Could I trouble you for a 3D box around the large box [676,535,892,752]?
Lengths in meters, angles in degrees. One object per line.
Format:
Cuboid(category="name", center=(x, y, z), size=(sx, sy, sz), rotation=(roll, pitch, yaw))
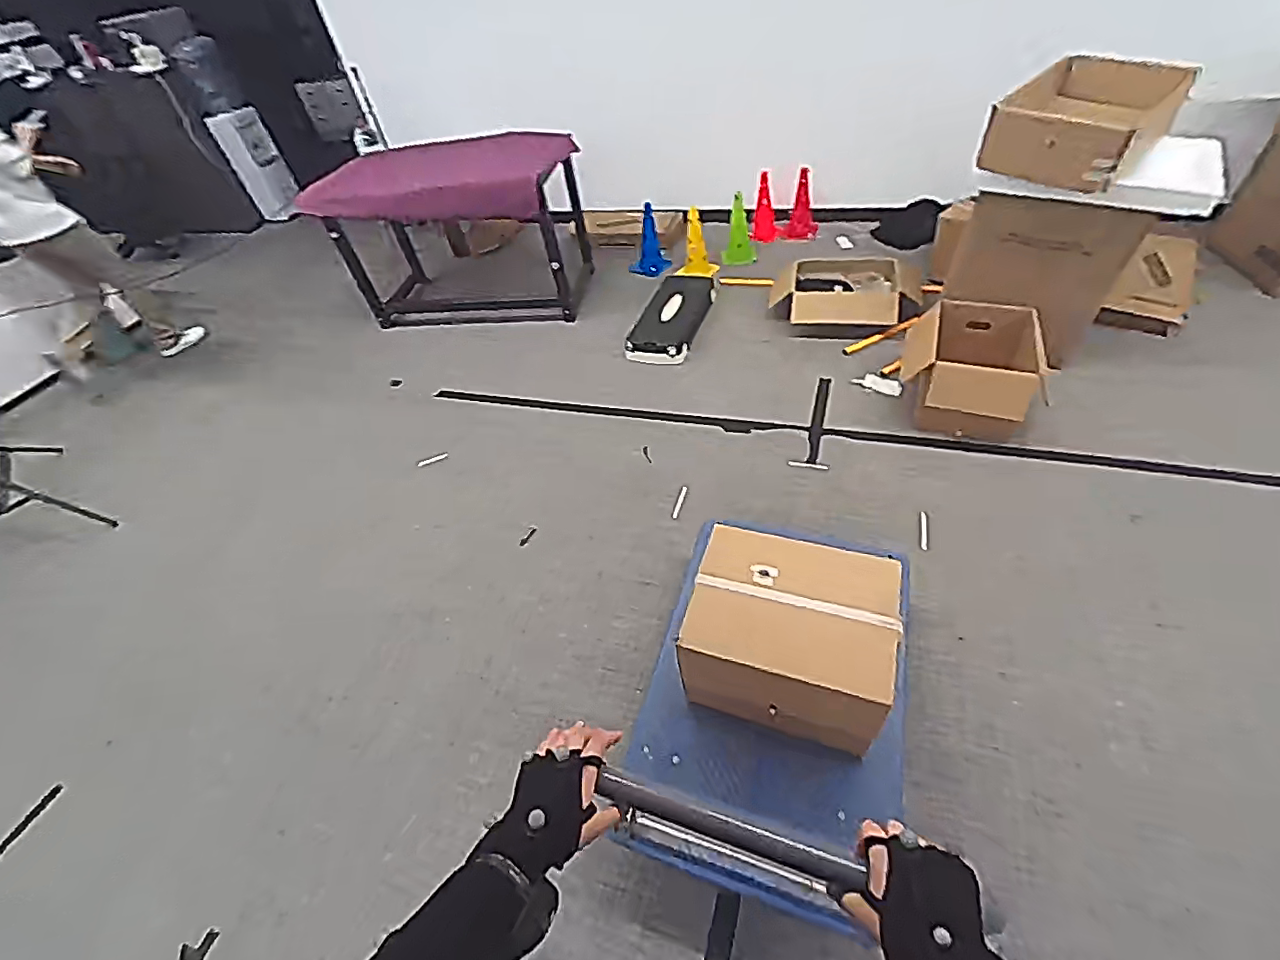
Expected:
Cuboid(category="large box", center=(0.329, 0.367, 1.229), size=(0.408, 0.320, 0.320), rotation=(9, 50, 19))
